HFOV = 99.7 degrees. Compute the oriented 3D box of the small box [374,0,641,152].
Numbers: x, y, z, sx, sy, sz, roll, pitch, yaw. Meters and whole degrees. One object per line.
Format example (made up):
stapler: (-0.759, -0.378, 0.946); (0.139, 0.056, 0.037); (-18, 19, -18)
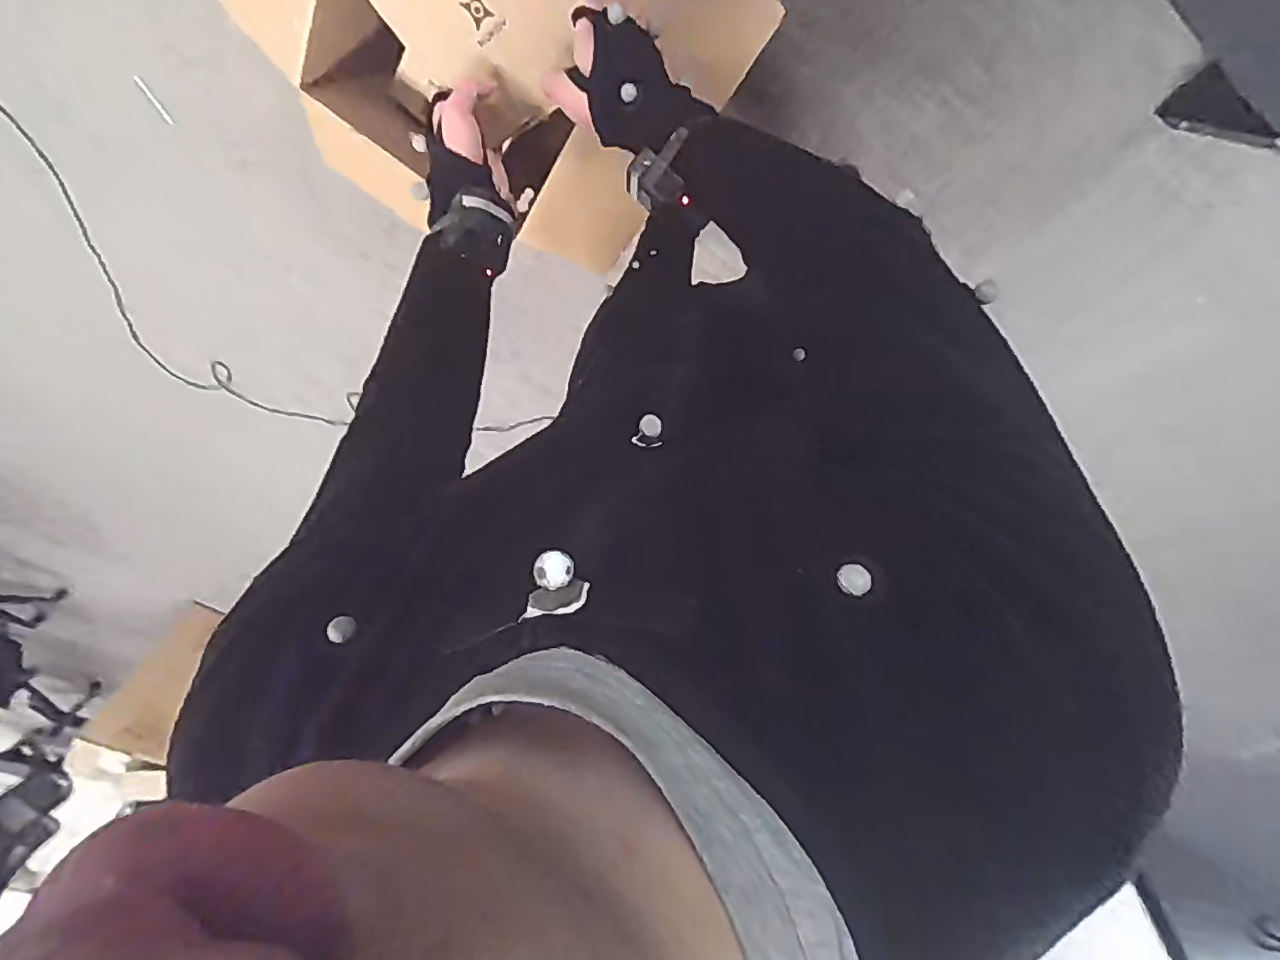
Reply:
small box: (-0.118, -0.466, 0.509); (0.168, 0.176, 0.179); (-12, 139, 33)
